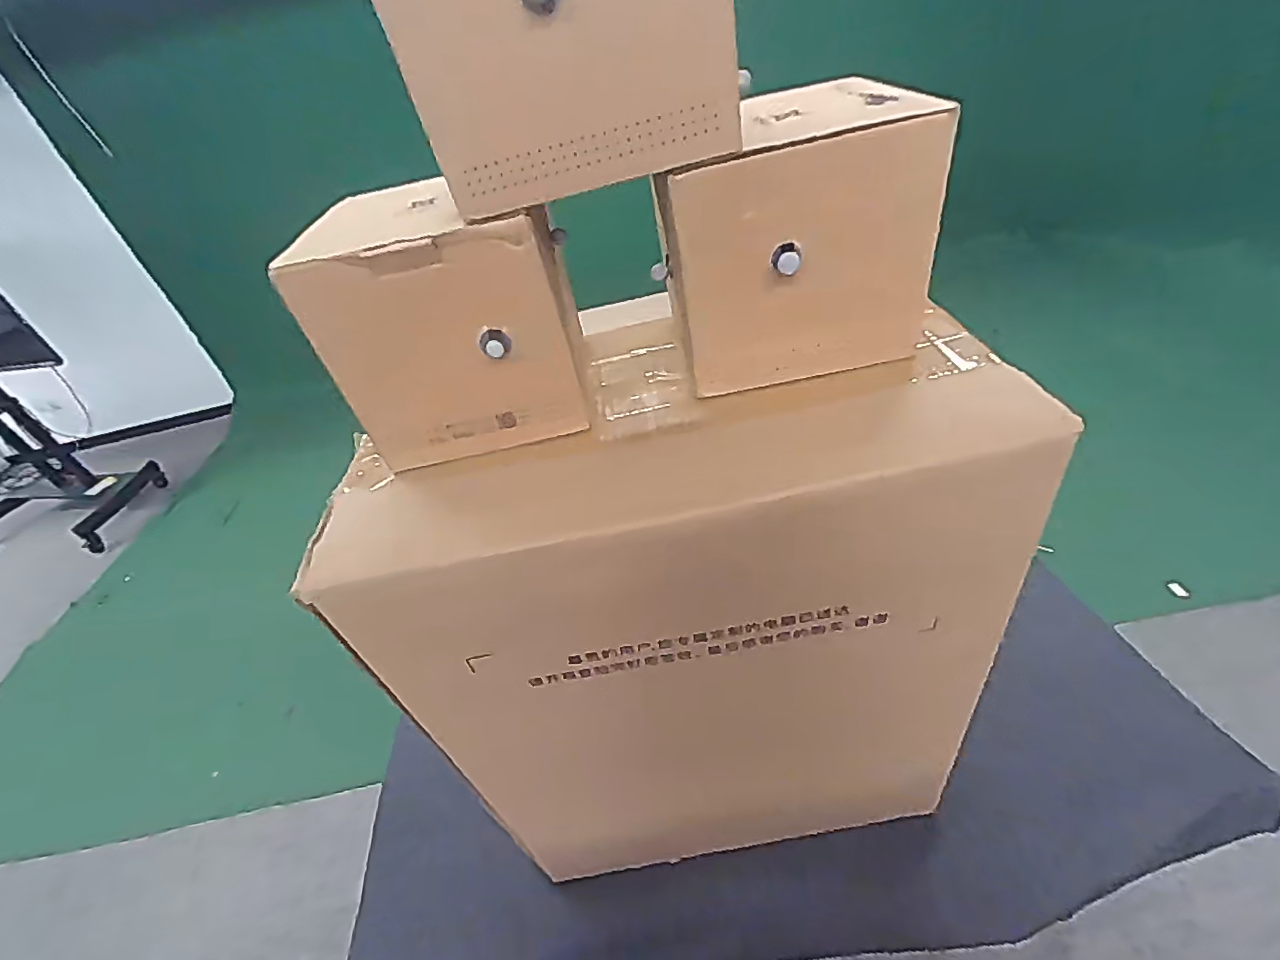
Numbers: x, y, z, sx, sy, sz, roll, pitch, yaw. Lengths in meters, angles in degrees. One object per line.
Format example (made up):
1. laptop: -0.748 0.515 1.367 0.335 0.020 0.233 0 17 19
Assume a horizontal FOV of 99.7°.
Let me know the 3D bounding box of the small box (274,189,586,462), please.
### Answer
1. small box: -0.143 -0.130 0.446 0.168 0.176 0.179 -12 39 1

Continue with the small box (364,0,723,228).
1. small box: -0.052 -0.280 0.333 0.179 0.176 0.168 -14 41 3

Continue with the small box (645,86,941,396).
1. small box: 0.107 -0.188 0.435 0.179 0.176 0.168 -13 41 4
